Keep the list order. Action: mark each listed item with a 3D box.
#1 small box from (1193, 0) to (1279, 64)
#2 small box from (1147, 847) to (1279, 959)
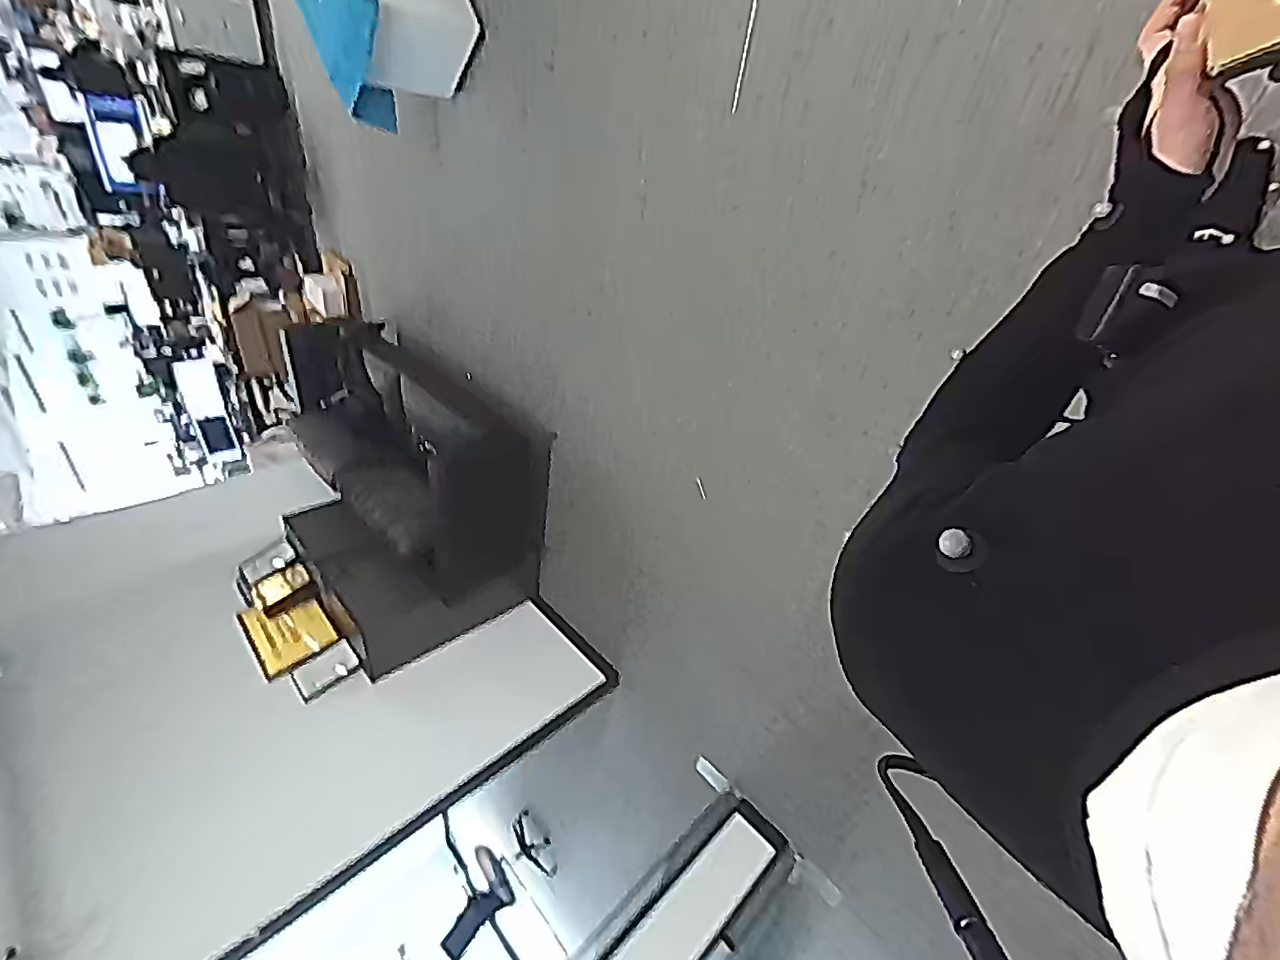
[{"bbox_3d":[0.428,-0.370,0.298,0.168,0.176,0.179,-1,113,50],"label":"small box"},{"bbox_3d":[0.935,0.710,0.818,0.168,0.176,0.179,40,133,29],"label":"small box"}]
